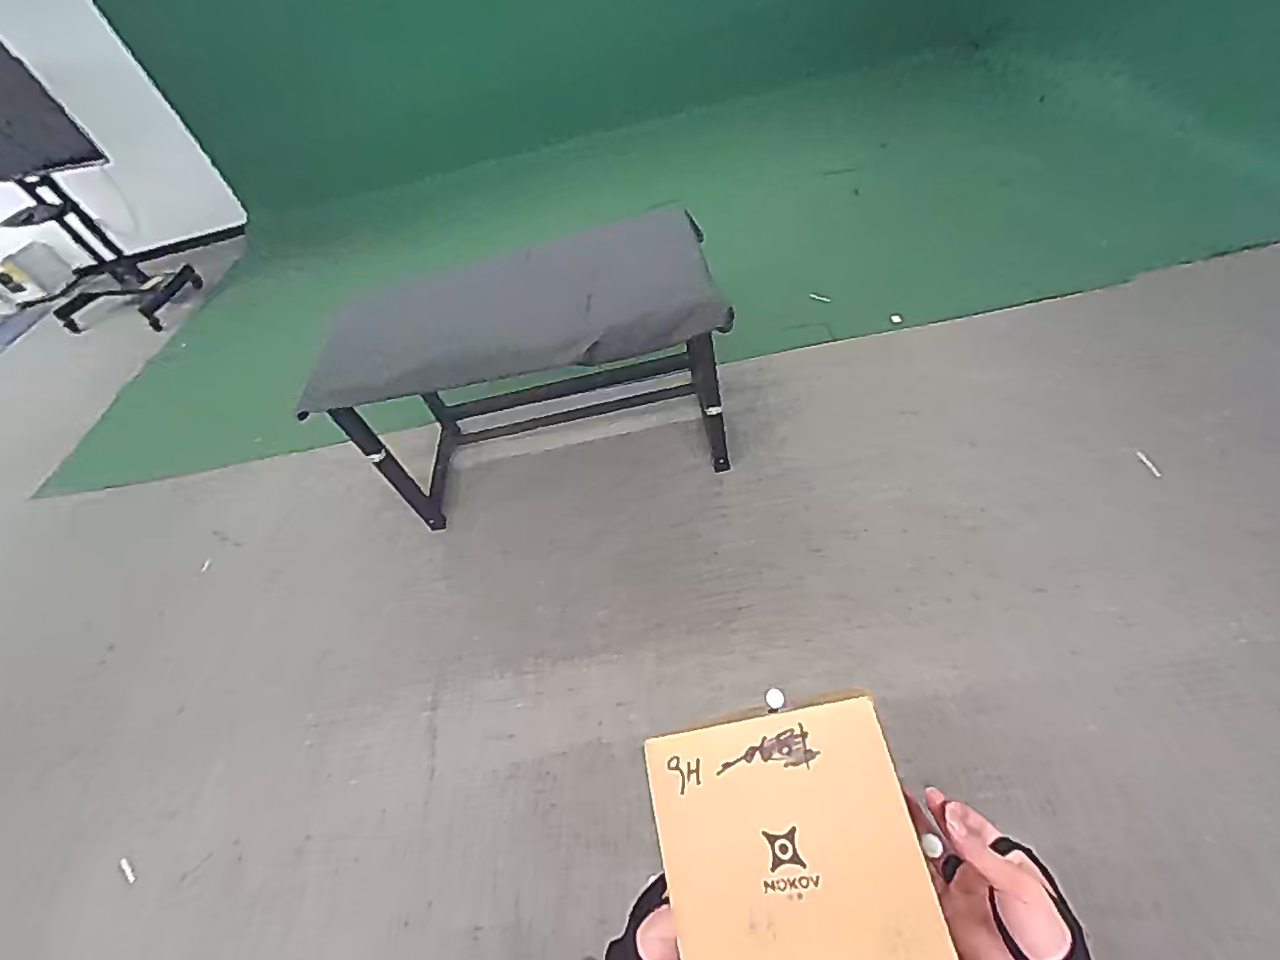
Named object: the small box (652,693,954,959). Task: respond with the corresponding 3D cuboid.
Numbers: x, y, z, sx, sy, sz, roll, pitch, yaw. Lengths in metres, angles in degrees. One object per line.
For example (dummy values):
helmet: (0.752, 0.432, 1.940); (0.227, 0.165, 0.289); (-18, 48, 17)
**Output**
small box: (0.127, 0.278, 0.425); (0.168, 0.176, 0.179); (-18, 67, 14)
